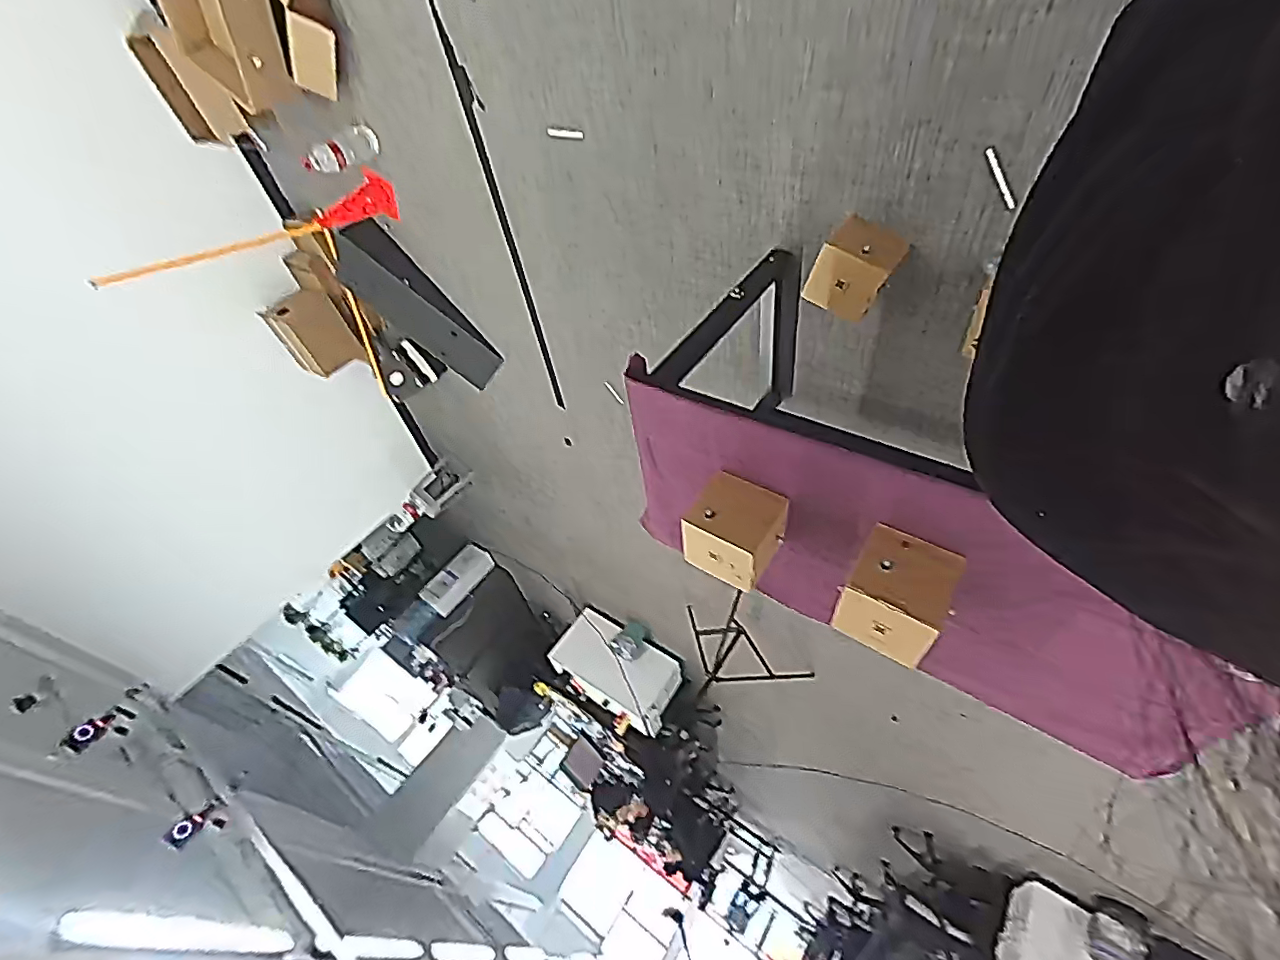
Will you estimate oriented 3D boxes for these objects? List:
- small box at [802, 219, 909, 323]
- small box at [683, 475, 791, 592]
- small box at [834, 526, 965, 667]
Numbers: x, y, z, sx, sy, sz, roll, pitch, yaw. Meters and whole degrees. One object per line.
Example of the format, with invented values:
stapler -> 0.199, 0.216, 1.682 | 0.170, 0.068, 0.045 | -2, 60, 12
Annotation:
small box -> 0.561, -0.552, 1.411 | 0.179, 0.176, 0.168 | 32, 149, 13
small box -> 0.215, 0.113, 1.216 | 0.179, 0.176, 0.168 | 24, 148, 26
small box -> 0.495, 0.218, 1.036 | 0.168, 0.176, 0.179 | 25, 149, 27
